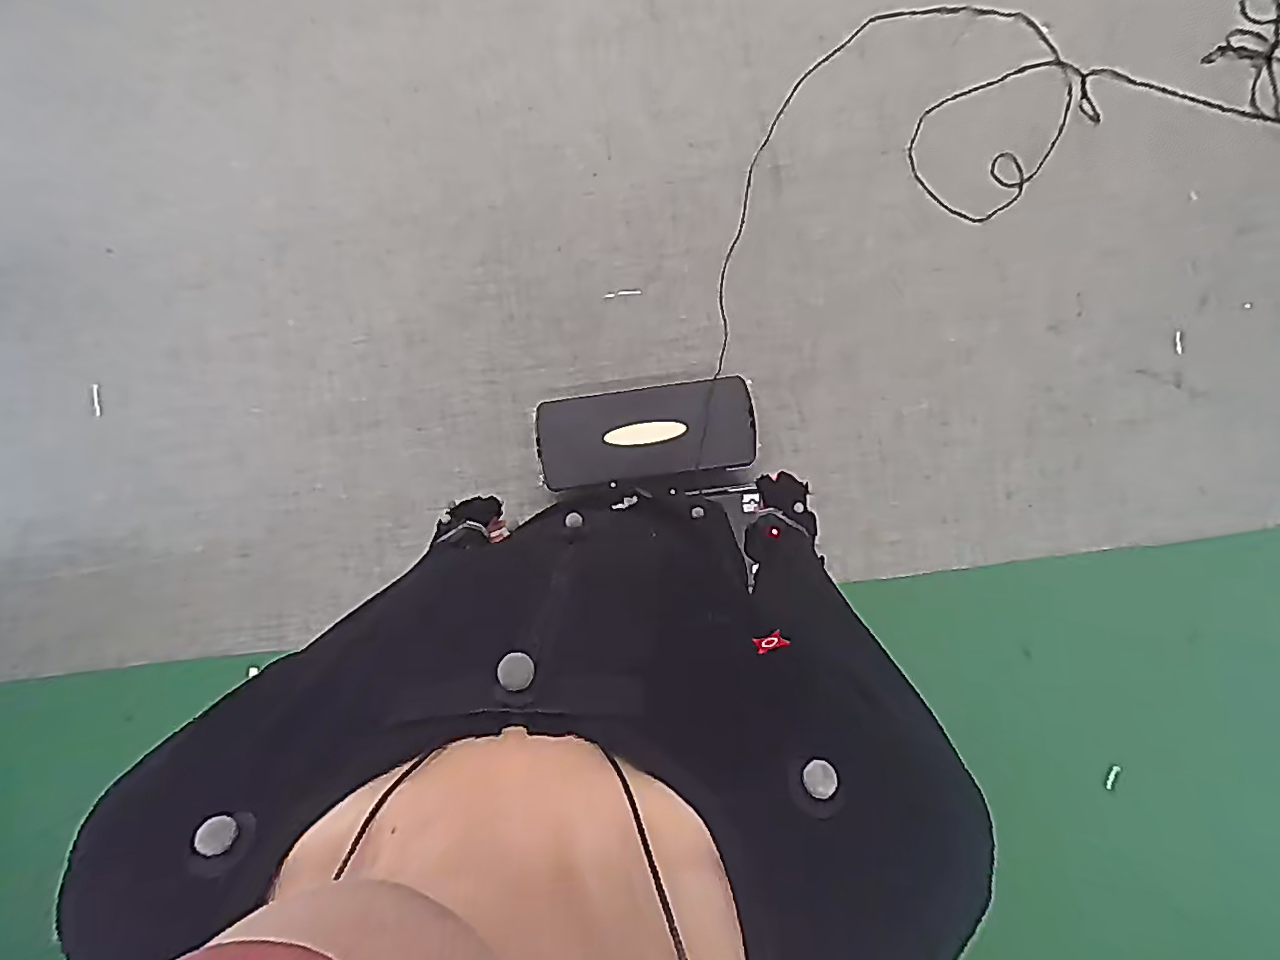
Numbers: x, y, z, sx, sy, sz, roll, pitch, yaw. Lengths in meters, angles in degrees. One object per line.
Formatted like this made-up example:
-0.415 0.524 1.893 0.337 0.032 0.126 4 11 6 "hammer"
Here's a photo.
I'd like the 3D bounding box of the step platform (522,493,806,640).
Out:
0.056 0.214 1.393 0.684 0.204 0.286 -7 88 0 "step platform"
